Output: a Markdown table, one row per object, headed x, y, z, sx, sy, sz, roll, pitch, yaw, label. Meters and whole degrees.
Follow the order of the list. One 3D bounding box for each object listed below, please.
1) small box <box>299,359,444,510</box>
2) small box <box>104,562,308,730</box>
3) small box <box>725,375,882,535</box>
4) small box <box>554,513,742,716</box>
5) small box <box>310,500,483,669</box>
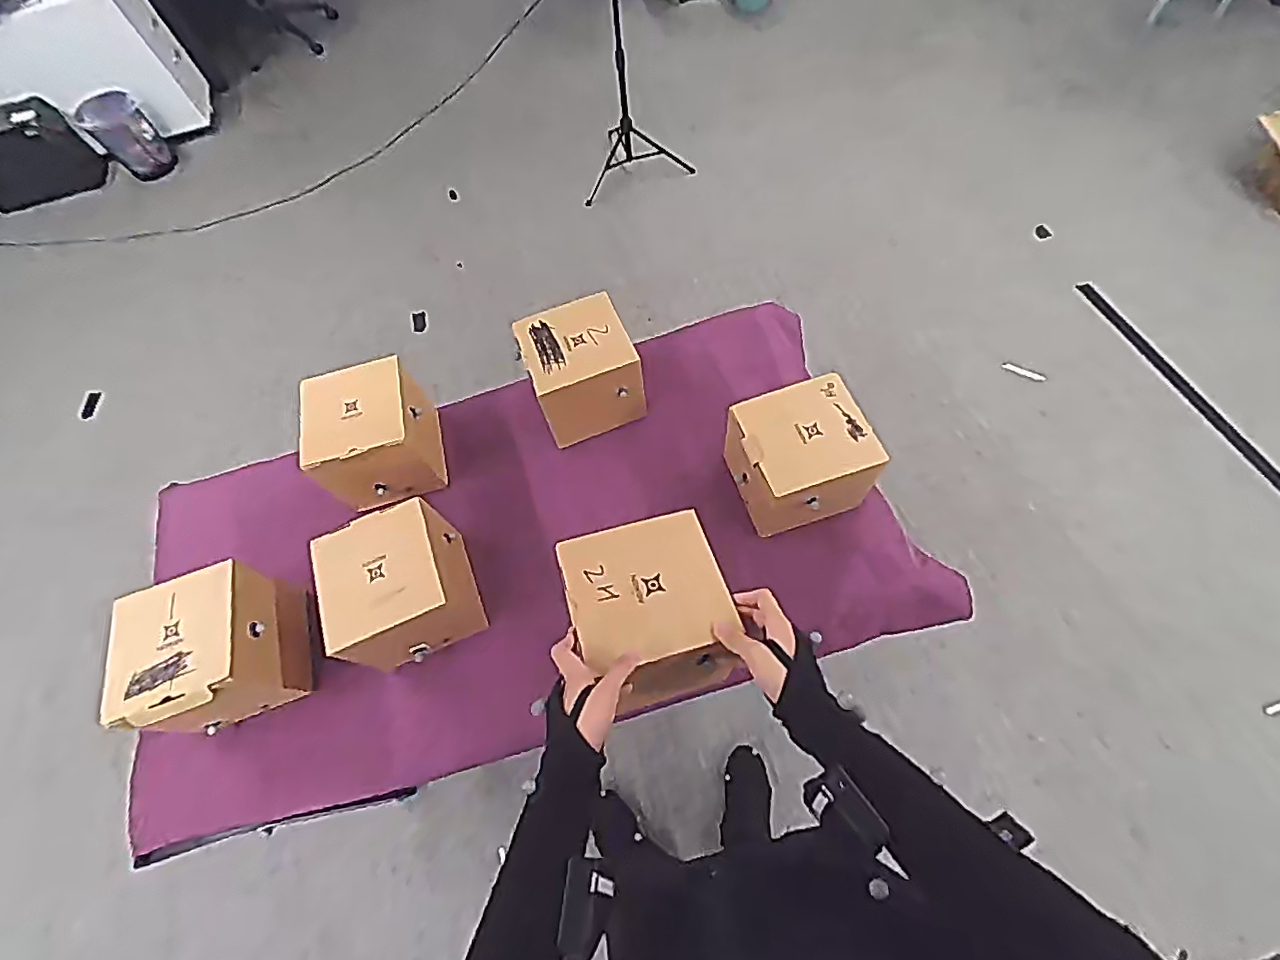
| x | y | z | sx | sy | sz | roll | pitch | yaw | label |
| --- | --- | --- | --- | --- | --- | --- | --- | --- | --- |
| -0.457 | -0.074 | 0.935 | 0.168 | 0.176 | 0.179 | -16 | 64 | -4 | small box |
| -0.618 | 0.249 | 0.793 | 0.168 | 0.176 | 0.179 | -20 | 62 | -5 | small box |
| 0.243 | -0.031 | 0.853 | 0.179 | 0.176 | 0.168 | -18 | 64 | -2 | small box |
| 0.003 | 0.168 | 0.663 | 0.179 | 0.176 | 0.168 | -14 | 55 | -10 | small box |
| -0.358 | 0.163 | 0.815 | 0.168 | 0.176 | 0.179 | -23 | 64 | -6 | small box |
